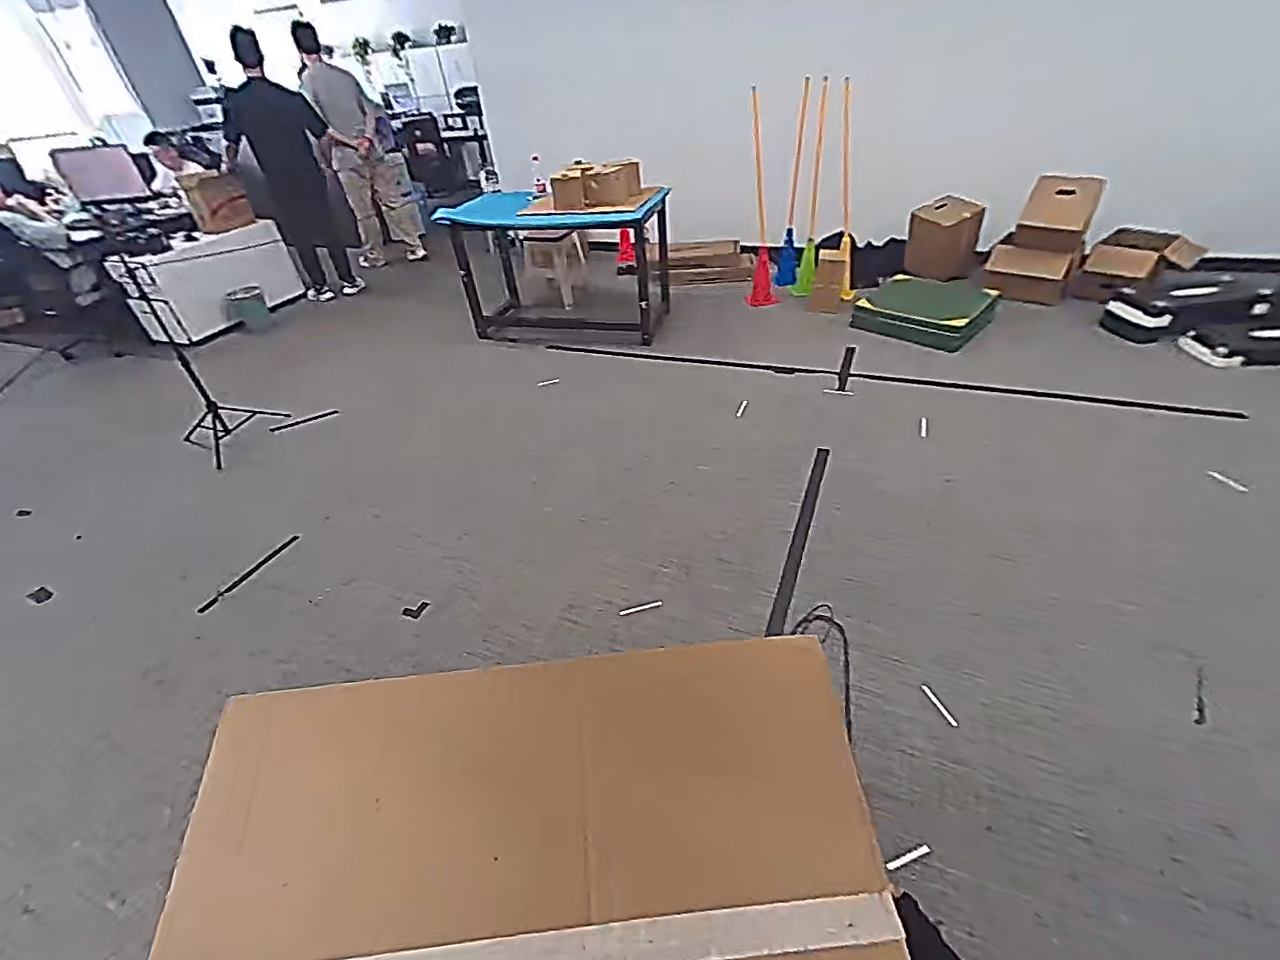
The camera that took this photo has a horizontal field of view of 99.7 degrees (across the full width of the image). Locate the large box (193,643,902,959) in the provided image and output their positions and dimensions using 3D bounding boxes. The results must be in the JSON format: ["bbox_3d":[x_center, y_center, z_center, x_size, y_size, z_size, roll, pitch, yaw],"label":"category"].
[{"bbox_3d":[-0.051,0.345,0.425,0.408,0.320,0.320,-5,58,-1],"label":"large box"}]
